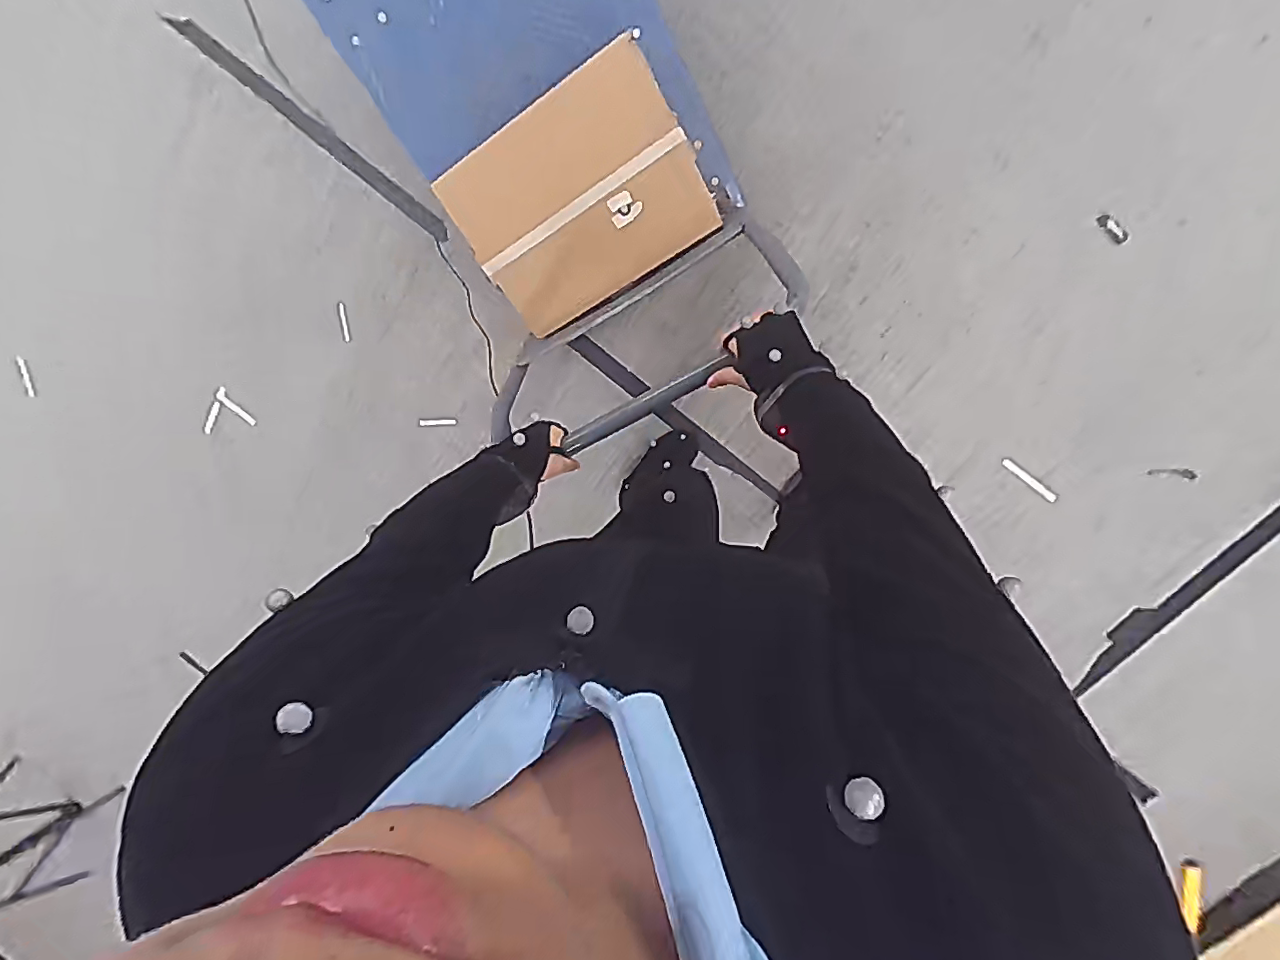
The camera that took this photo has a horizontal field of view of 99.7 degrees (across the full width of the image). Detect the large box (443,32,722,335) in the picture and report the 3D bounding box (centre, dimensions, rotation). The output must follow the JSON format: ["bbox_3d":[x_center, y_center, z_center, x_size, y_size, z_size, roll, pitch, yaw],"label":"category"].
[{"bbox_3d":[-0.097,-0.556,1.071,0.408,0.320,0.320,-28,117,16],"label":"large box"}]
